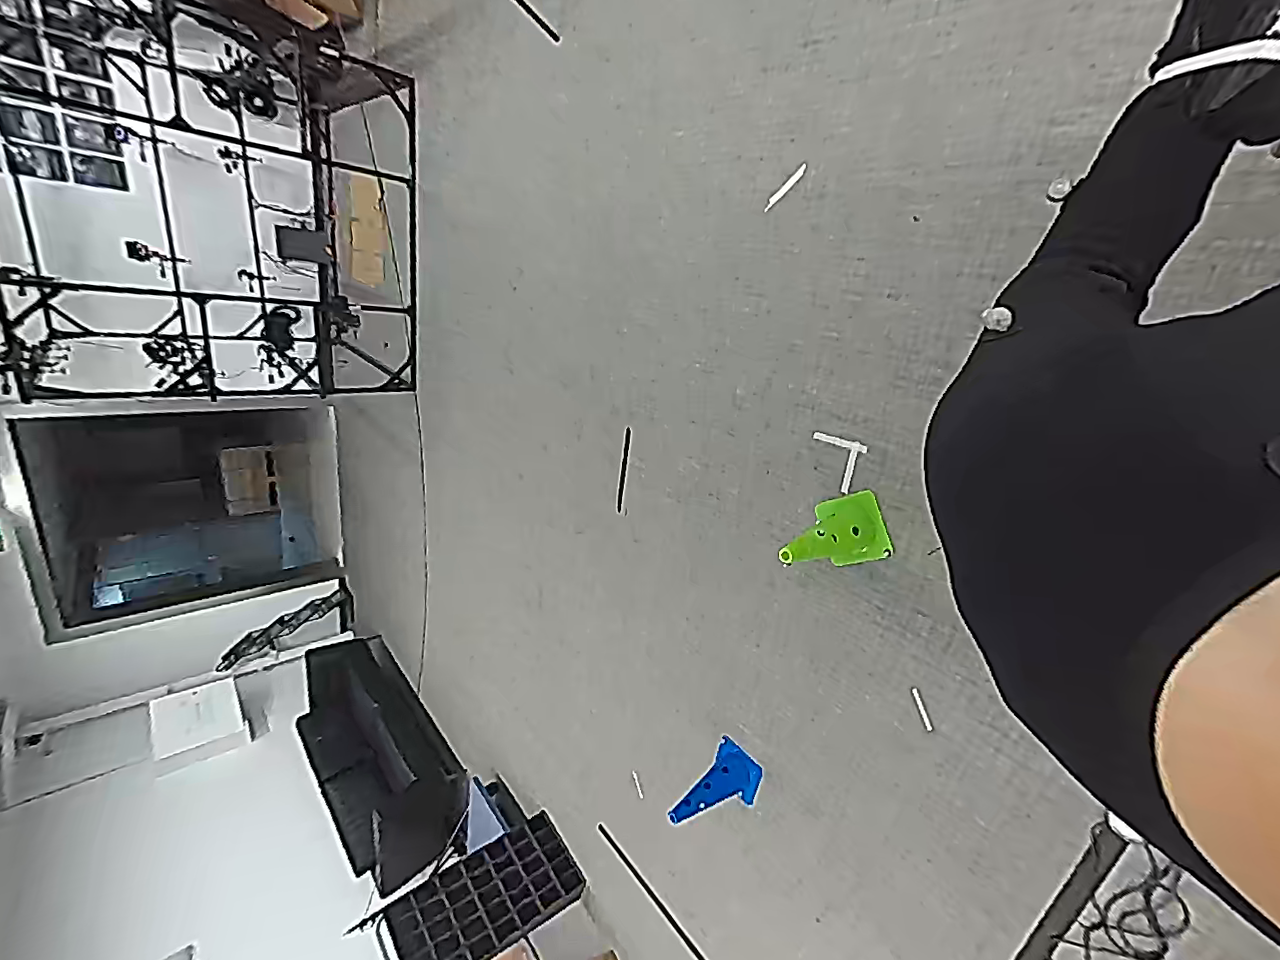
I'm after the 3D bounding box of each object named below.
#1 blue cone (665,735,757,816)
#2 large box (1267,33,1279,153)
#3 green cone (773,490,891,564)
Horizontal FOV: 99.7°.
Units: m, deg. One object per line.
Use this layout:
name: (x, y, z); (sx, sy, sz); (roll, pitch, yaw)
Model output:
blue cone: (0.248, 1.144, 2.008); (0.192, 0.380, 0.193); (33, 121, 42)
large box: (0.668, -0.364, 0.263); (0.408, 0.320, 0.320); (31, 125, 40)
green cone: (0.499, 0.163, 1.501); (0.202, 0.368, 0.200); (-26, 77, 50)
